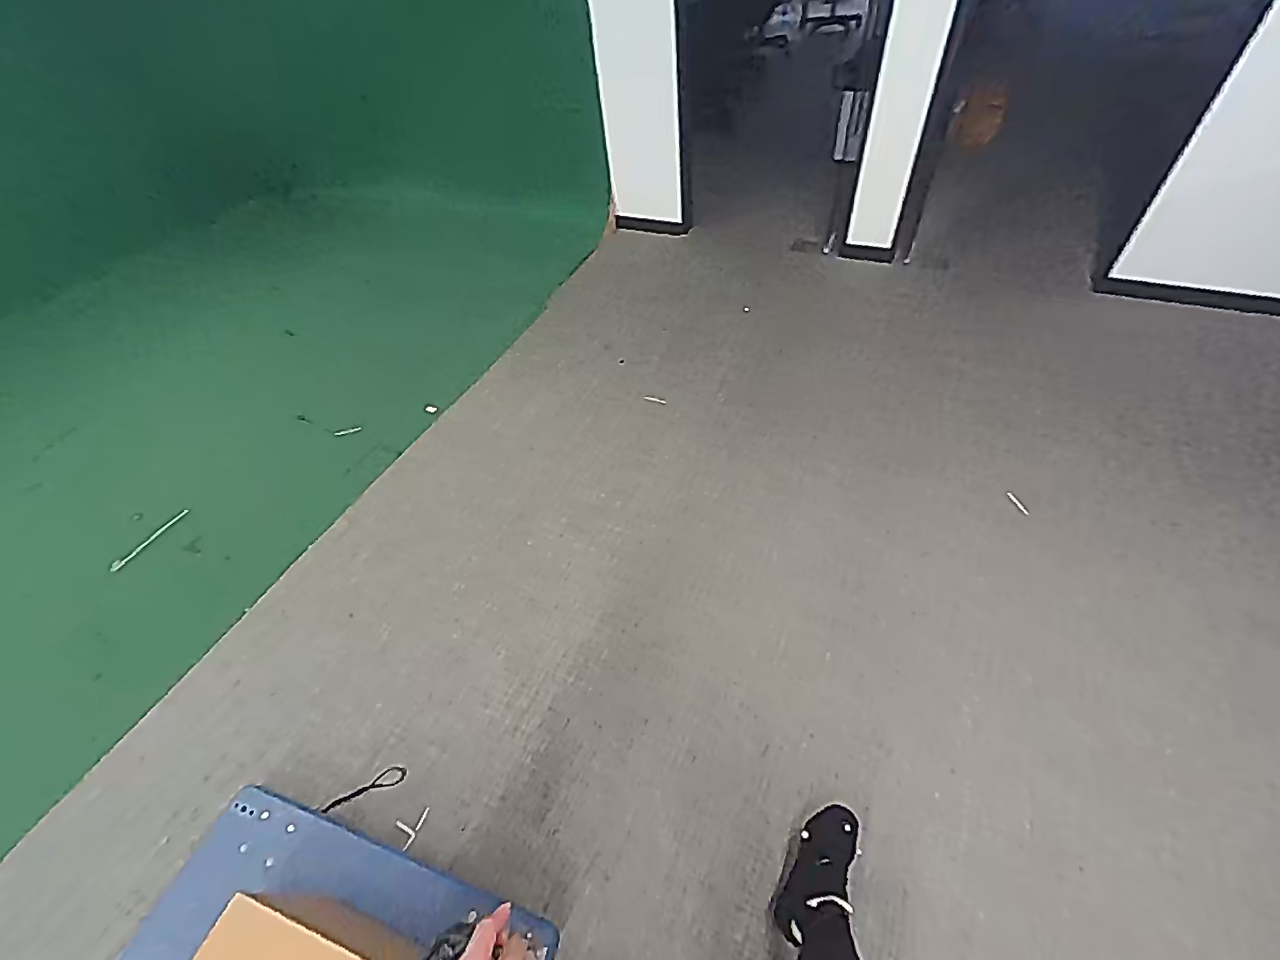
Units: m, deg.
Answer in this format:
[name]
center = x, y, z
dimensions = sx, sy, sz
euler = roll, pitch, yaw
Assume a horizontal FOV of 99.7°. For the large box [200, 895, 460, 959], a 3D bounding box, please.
[large box]
center = -0.542, 0.967, 0.919
dimensions = 0.408, 0.320, 0.320
euler = 11, 52, 17
